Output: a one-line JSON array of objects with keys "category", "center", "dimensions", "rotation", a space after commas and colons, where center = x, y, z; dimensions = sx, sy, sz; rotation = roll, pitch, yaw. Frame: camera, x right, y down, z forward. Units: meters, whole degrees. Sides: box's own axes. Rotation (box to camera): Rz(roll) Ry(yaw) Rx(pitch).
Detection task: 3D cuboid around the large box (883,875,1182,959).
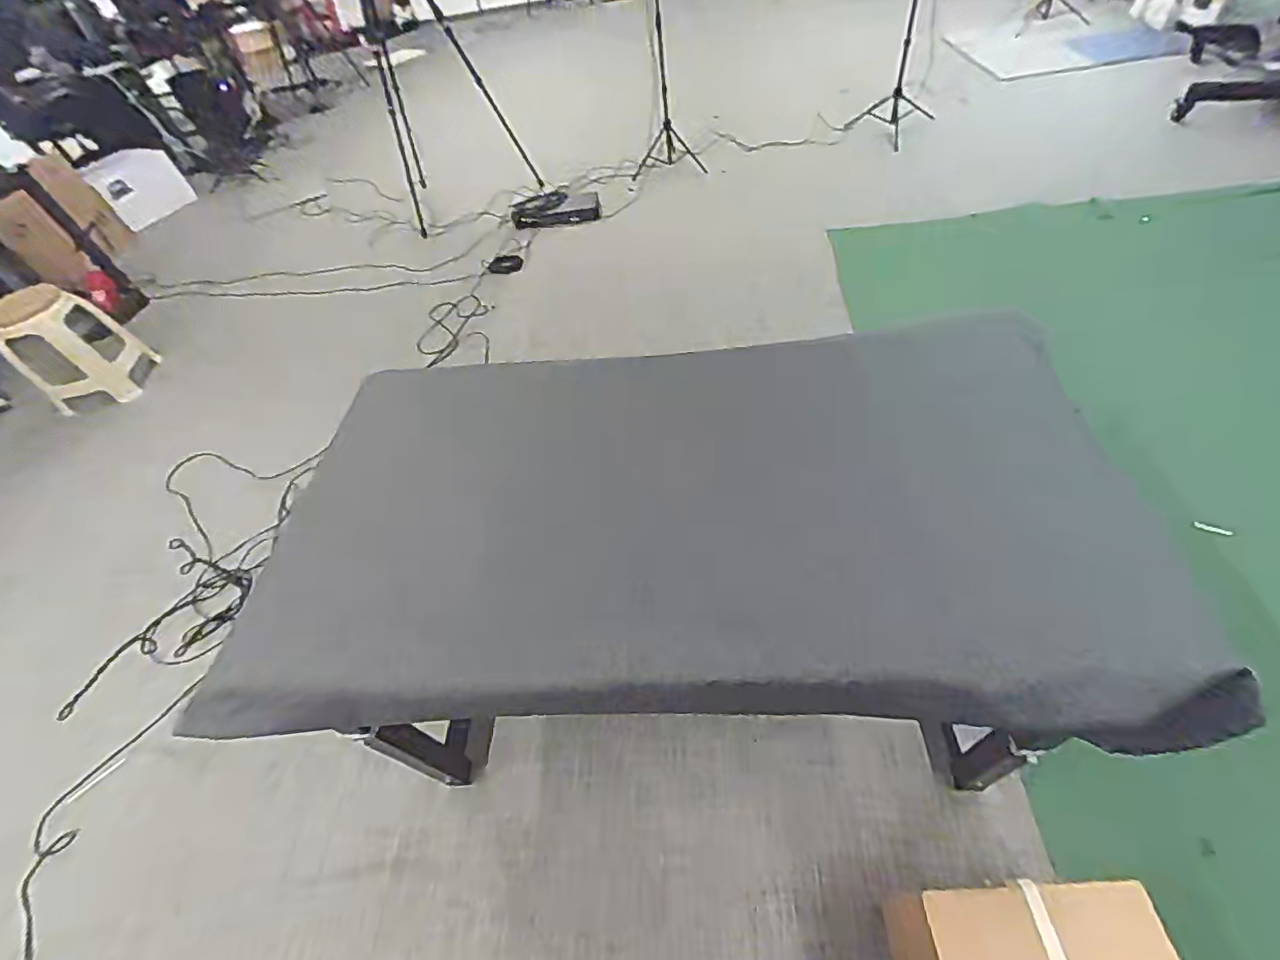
[{"category": "large box", "center": [0.600, 0.836, 0.783], "dimensions": [0.320, 0.320, 0.408], "rotation": [-7, 51, 5]}]
